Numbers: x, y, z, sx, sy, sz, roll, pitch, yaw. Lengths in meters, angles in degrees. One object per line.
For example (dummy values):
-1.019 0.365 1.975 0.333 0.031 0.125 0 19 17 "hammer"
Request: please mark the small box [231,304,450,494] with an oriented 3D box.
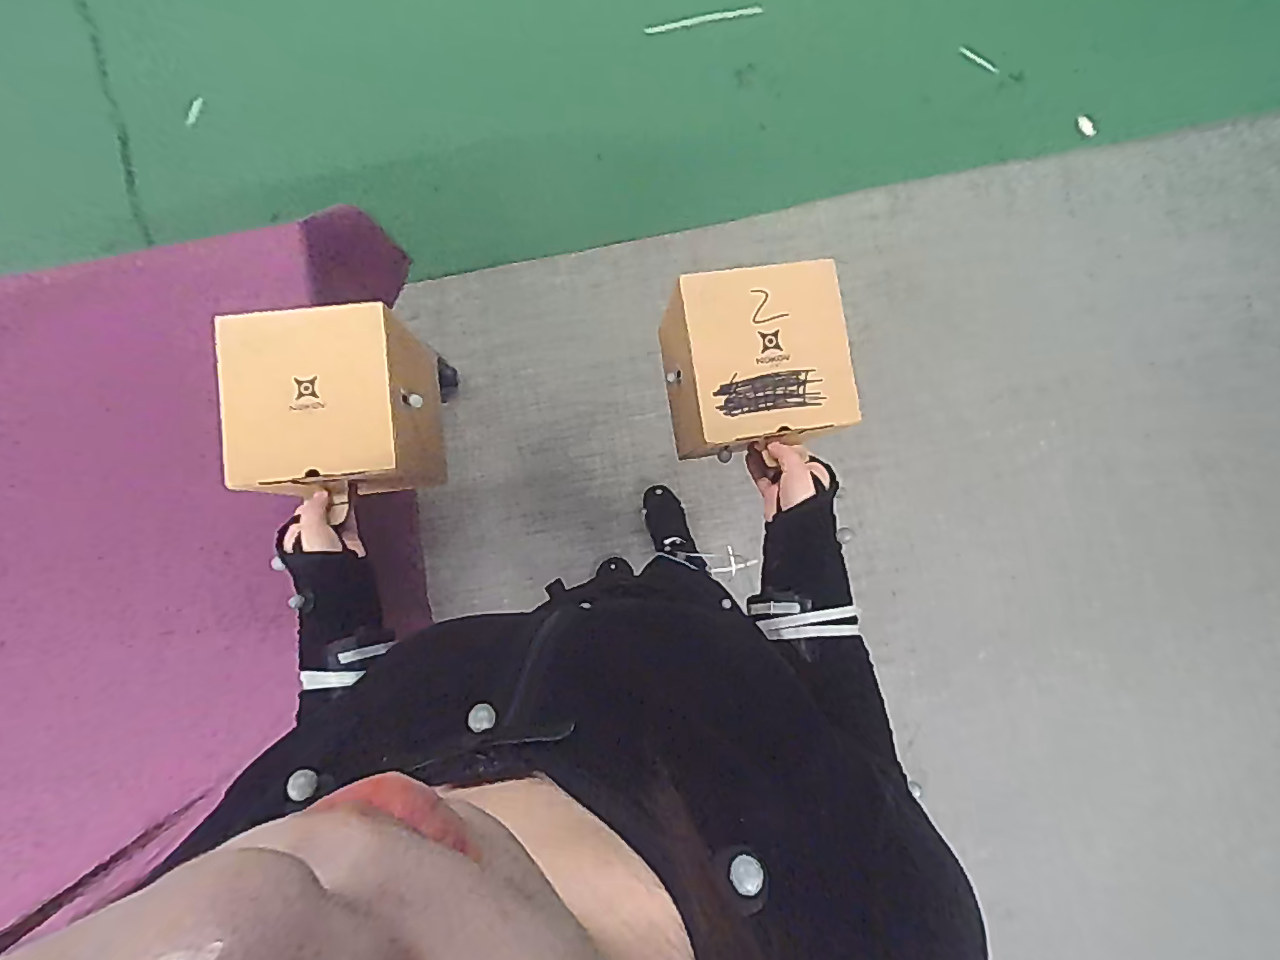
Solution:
-0.326 -0.081 0.619 0.168 0.176 0.179 -5 86 -4 "small box"
